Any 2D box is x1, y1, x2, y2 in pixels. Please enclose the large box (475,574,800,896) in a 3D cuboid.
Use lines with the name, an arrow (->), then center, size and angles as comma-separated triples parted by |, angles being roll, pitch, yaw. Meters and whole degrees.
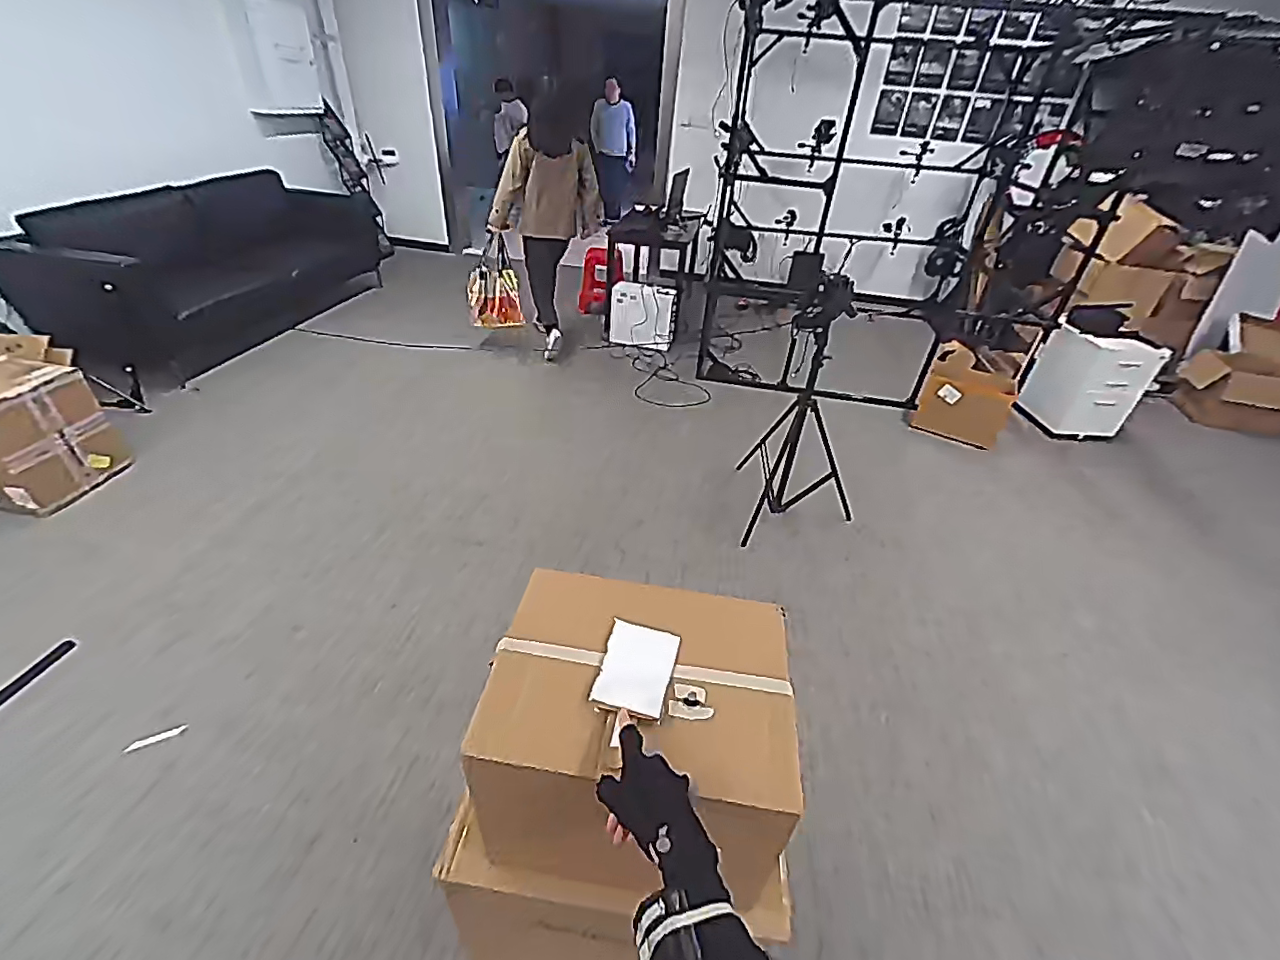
large box -> -0.003, 0.387, 0.848 | 0.408, 0.320, 0.320 | 8, 36, 3
